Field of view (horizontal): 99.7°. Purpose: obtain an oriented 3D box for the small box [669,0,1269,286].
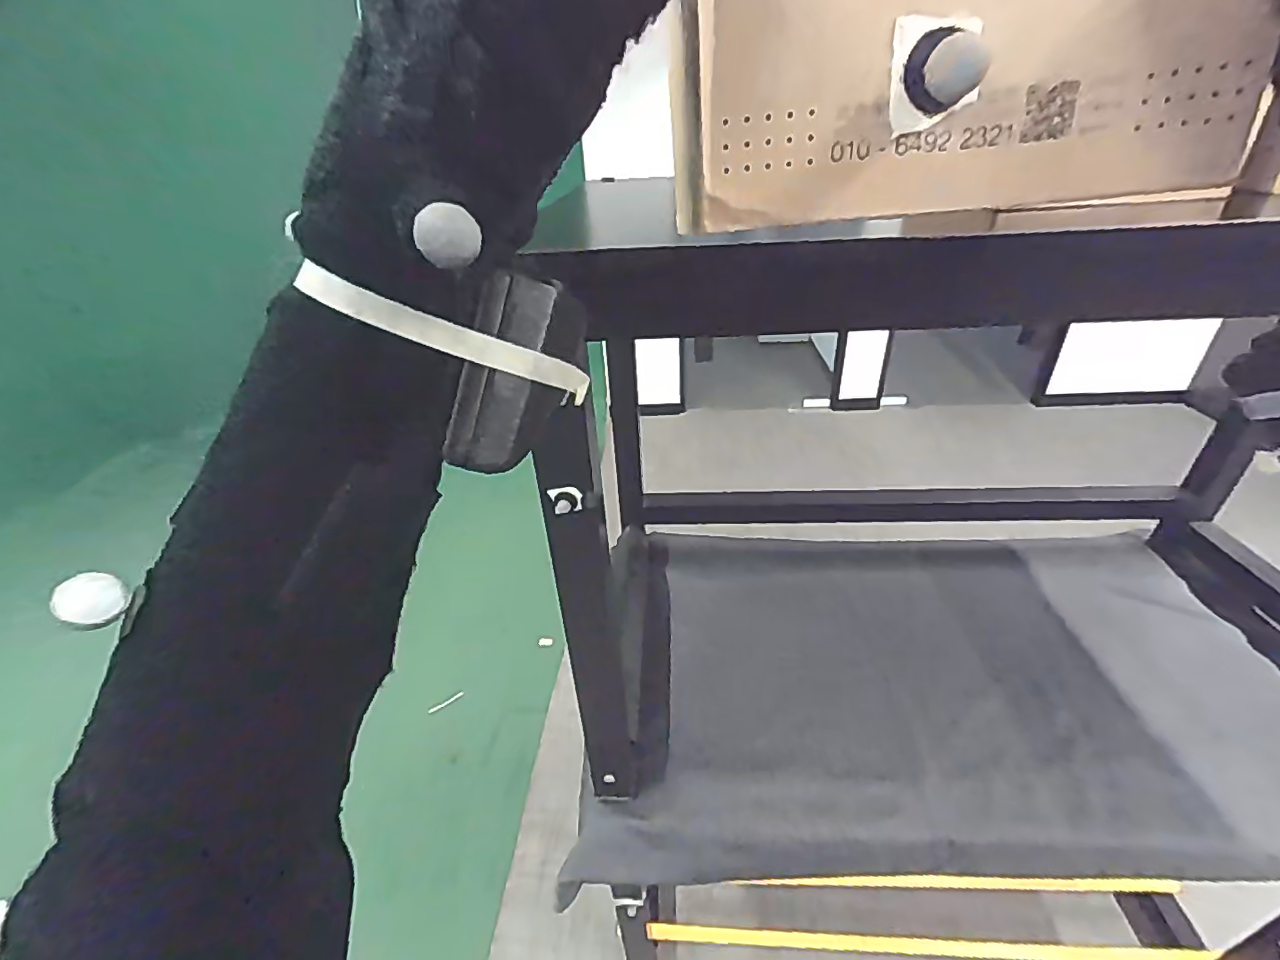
[{"bbox_3d":[0.096,-0.179,0.224,0.168,0.176,0.179,-5,25,4],"label":"small box"}]
